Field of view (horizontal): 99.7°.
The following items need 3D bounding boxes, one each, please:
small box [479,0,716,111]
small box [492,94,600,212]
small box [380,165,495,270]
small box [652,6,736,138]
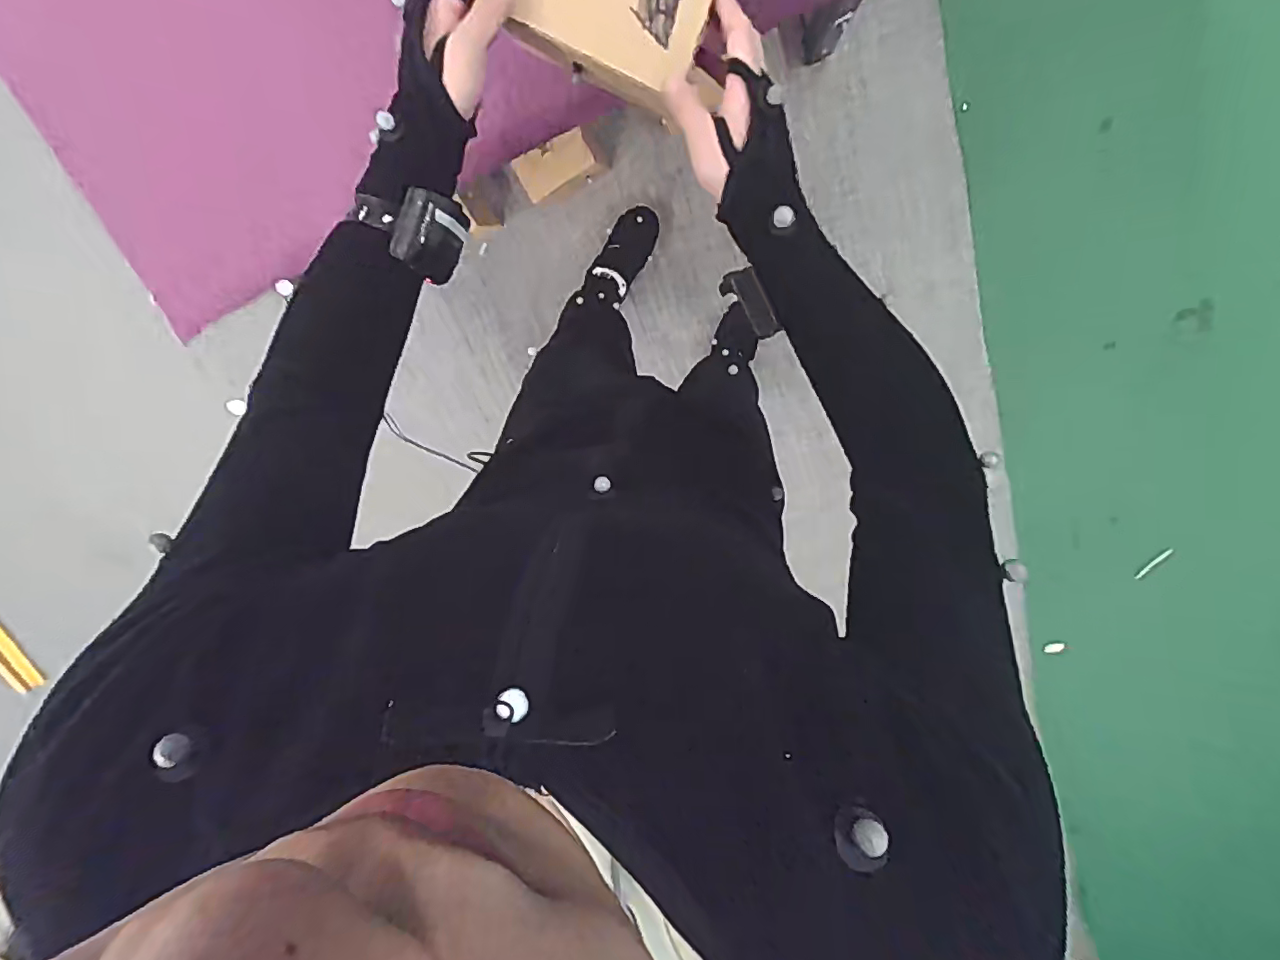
[{"bbox_3d":[-0.017,-0.439,0.452,0.179,0.176,0.168,22,117,-9],"label":"small box"},{"bbox_3d":[-0.209,-0.755,1.268,0.179,0.176,0.168,-24,108,18],"label":"small box"},{"bbox_3d":[-0.497,-0.654,1.356,0.168,0.176,0.179,-26,108,19],"label":"small box"},{"bbox_3d":[0.101,-0.871,1.169,0.179,0.176,0.168,-18,110,15],"label":"small box"}]
